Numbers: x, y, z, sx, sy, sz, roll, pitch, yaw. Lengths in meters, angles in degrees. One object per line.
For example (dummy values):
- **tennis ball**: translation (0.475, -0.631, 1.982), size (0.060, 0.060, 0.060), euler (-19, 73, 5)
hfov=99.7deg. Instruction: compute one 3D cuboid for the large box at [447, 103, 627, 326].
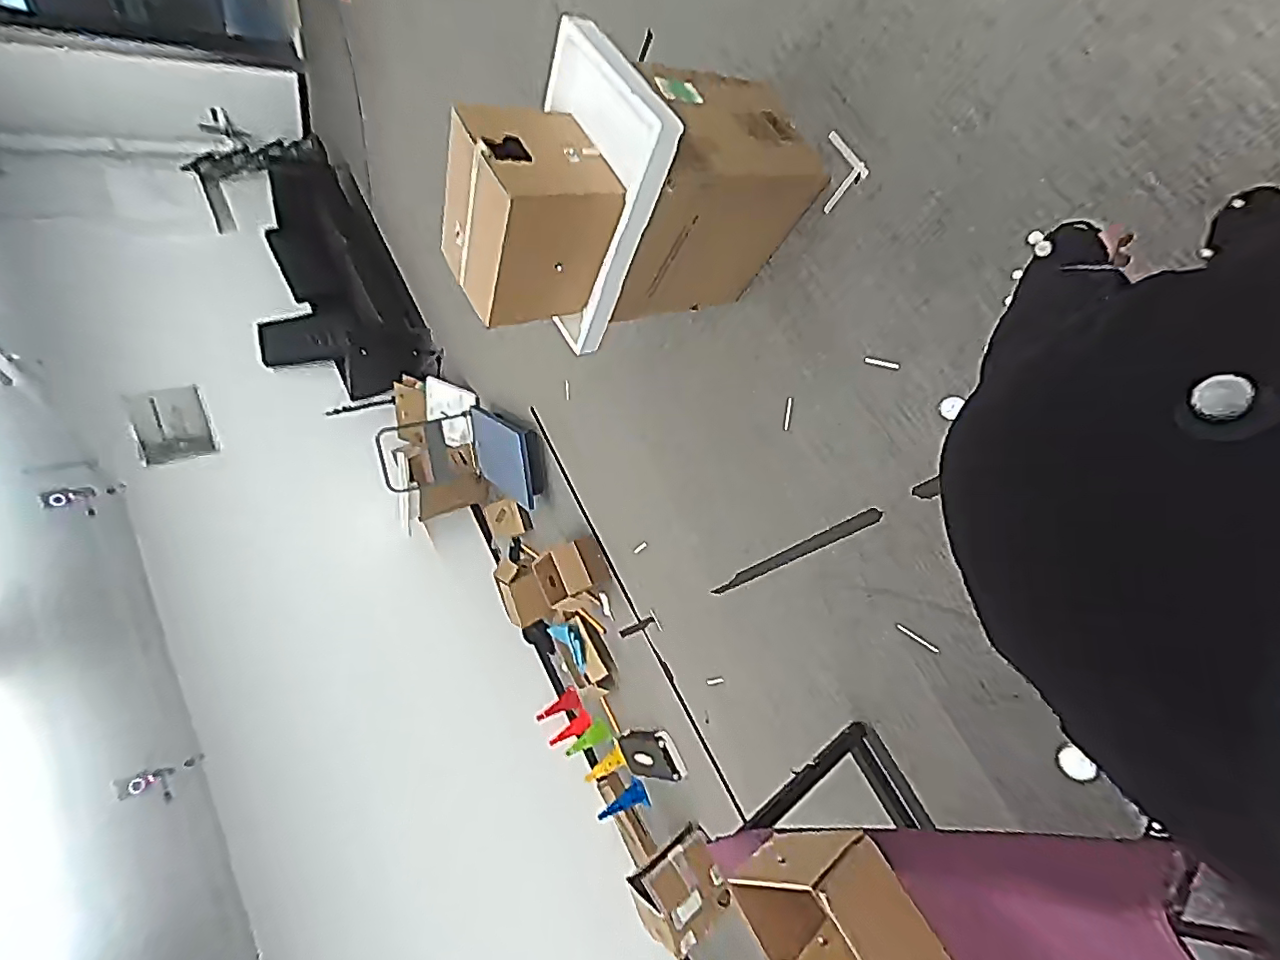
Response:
- **large box**: translation (-0.282, -0.674, 1.396), size (0.320, 0.320, 0.408), euler (60, 148, 16)
